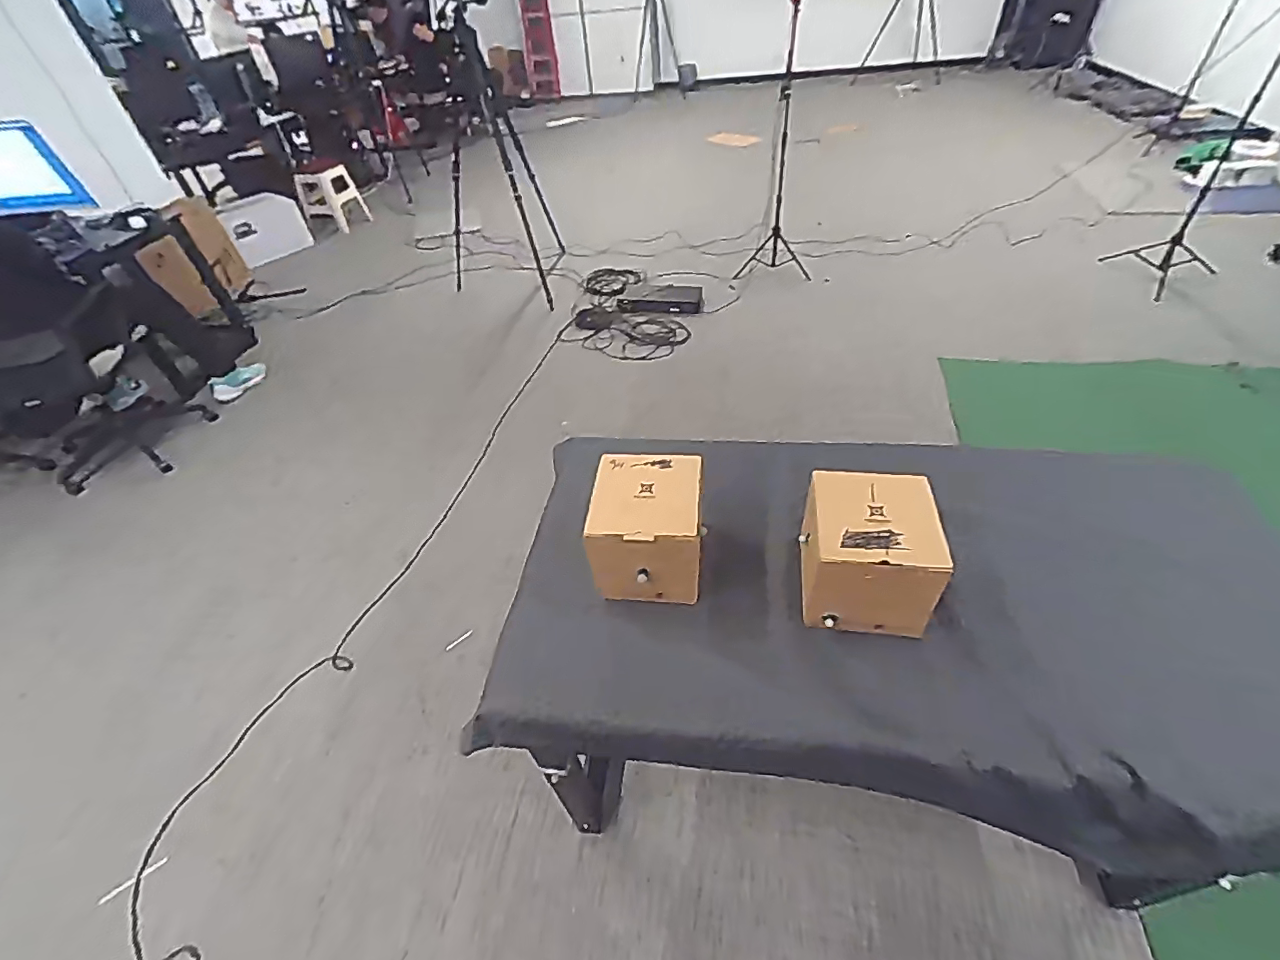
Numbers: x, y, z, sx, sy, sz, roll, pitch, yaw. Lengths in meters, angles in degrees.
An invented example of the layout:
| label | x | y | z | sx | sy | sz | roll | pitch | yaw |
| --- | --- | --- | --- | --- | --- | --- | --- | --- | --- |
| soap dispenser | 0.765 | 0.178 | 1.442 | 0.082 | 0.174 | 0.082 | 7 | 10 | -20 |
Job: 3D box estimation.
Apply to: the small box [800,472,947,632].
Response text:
| label | x | y | z | sx | sy | sz | roll | pitch | yaw |
| --- | --- | --- | --- | --- | --- | --- | --- | --- | --- |
| small box | 0.338 | 0.110 | 0.819 | 0.168 | 0.176 | 0.179 | 3 | 44 | 11 |

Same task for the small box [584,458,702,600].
| label | x | y | z | sx | sy | sz | roll | pitch | yaw |
| --- | --- | --- | --- | --- | --- | --- | --- | --- | --- |
| small box | 0.016 | 0.082 | 0.892 | 0.168 | 0.176 | 0.179 | 1 | 45 | 9 |
